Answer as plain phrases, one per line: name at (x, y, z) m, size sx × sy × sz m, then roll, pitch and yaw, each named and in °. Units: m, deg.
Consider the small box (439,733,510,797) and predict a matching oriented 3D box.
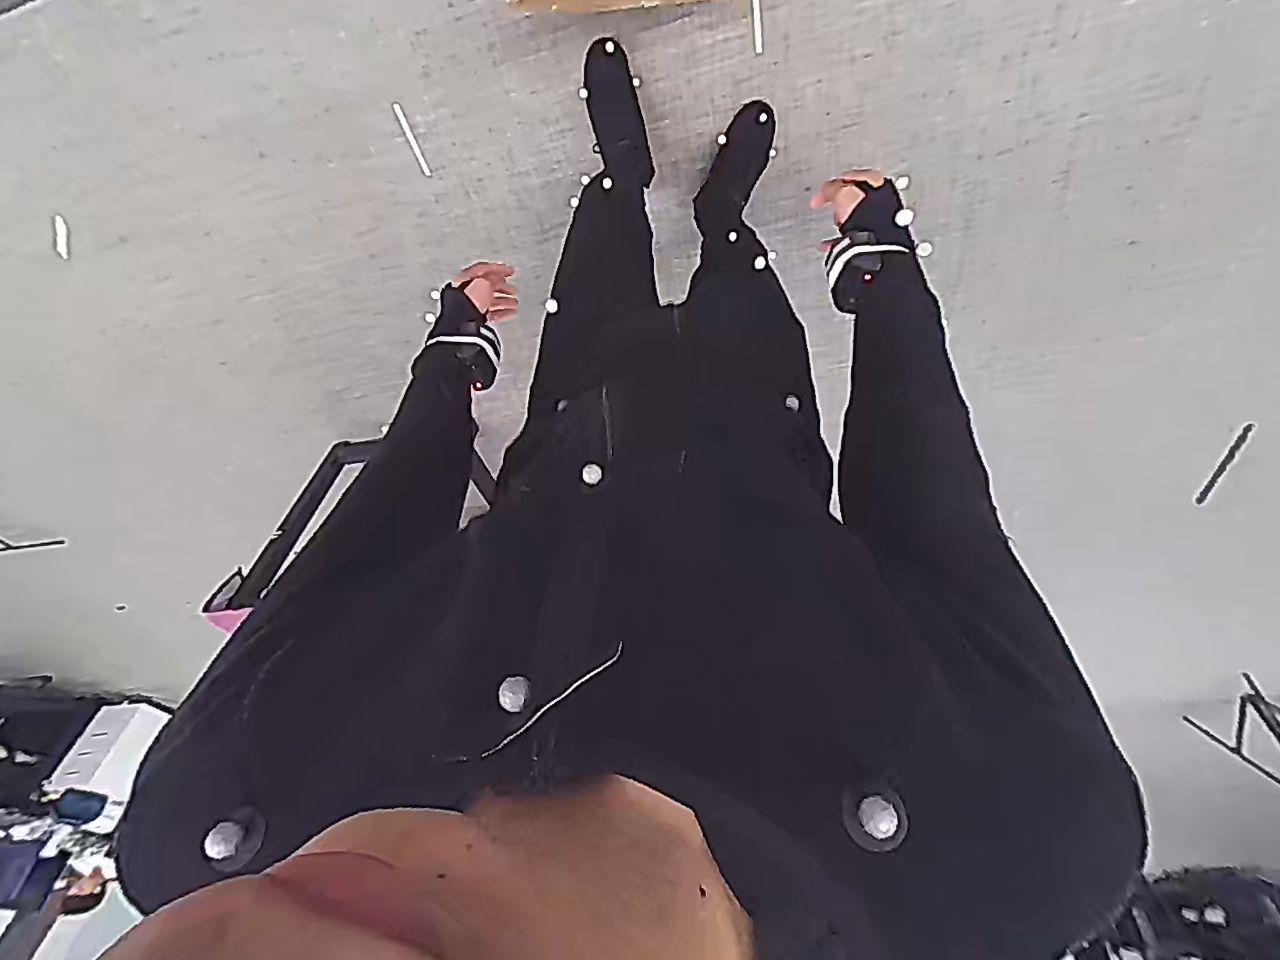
small box at (-0.595, 1.042, 1.983) m, size 0.179 × 0.176 × 0.168 m, roll -17°, pitch 131°, yaw 21°
